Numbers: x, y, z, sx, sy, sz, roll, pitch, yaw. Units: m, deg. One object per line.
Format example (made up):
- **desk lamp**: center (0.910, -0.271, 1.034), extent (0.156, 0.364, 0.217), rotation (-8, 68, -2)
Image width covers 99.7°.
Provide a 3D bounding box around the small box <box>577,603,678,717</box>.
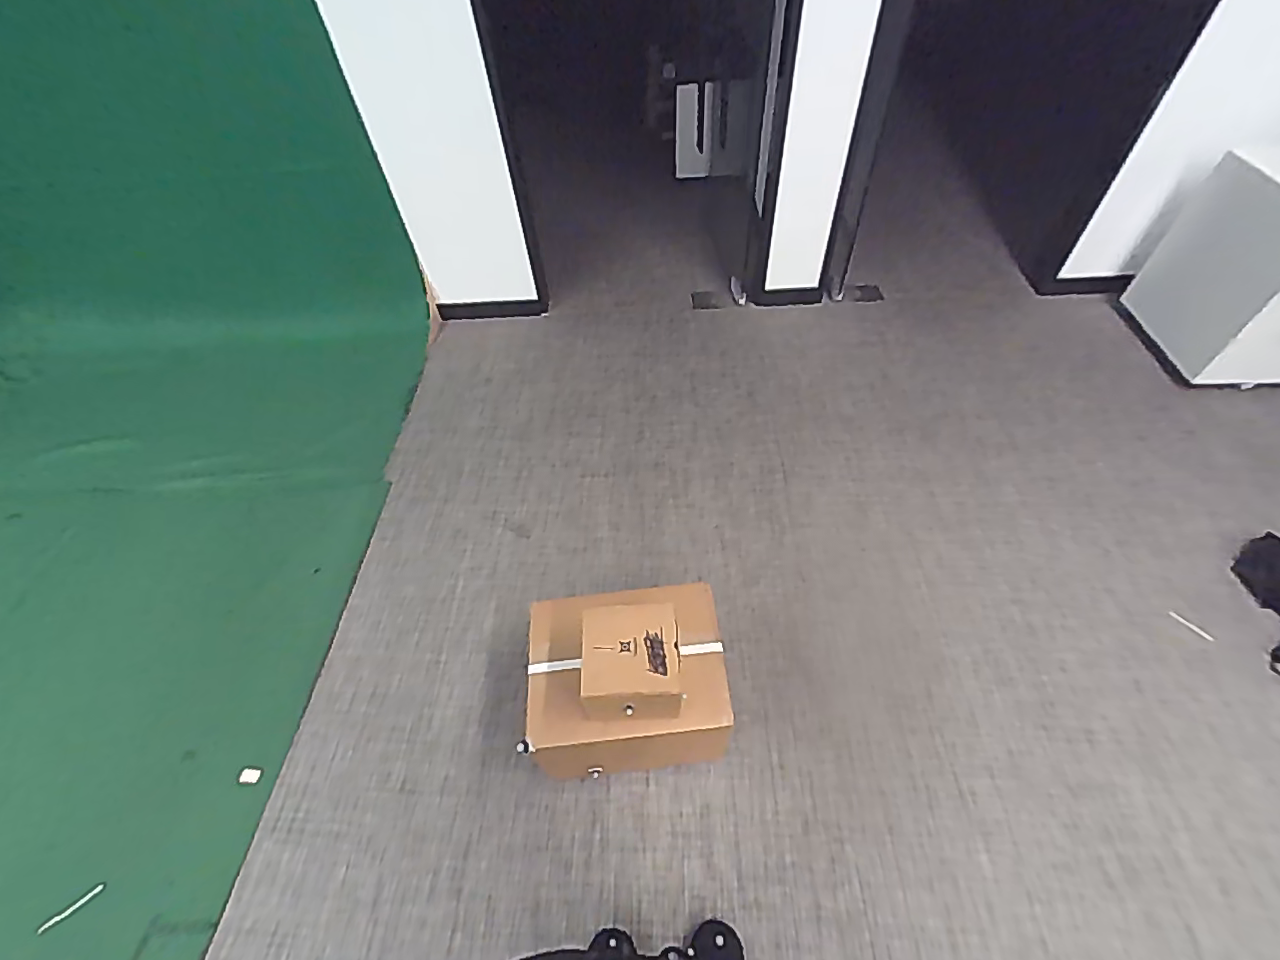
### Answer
- **small box**: center (-0.020, 0.350, 1.044), extent (0.179, 0.176, 0.168), rotation (-3, 52, 2)
